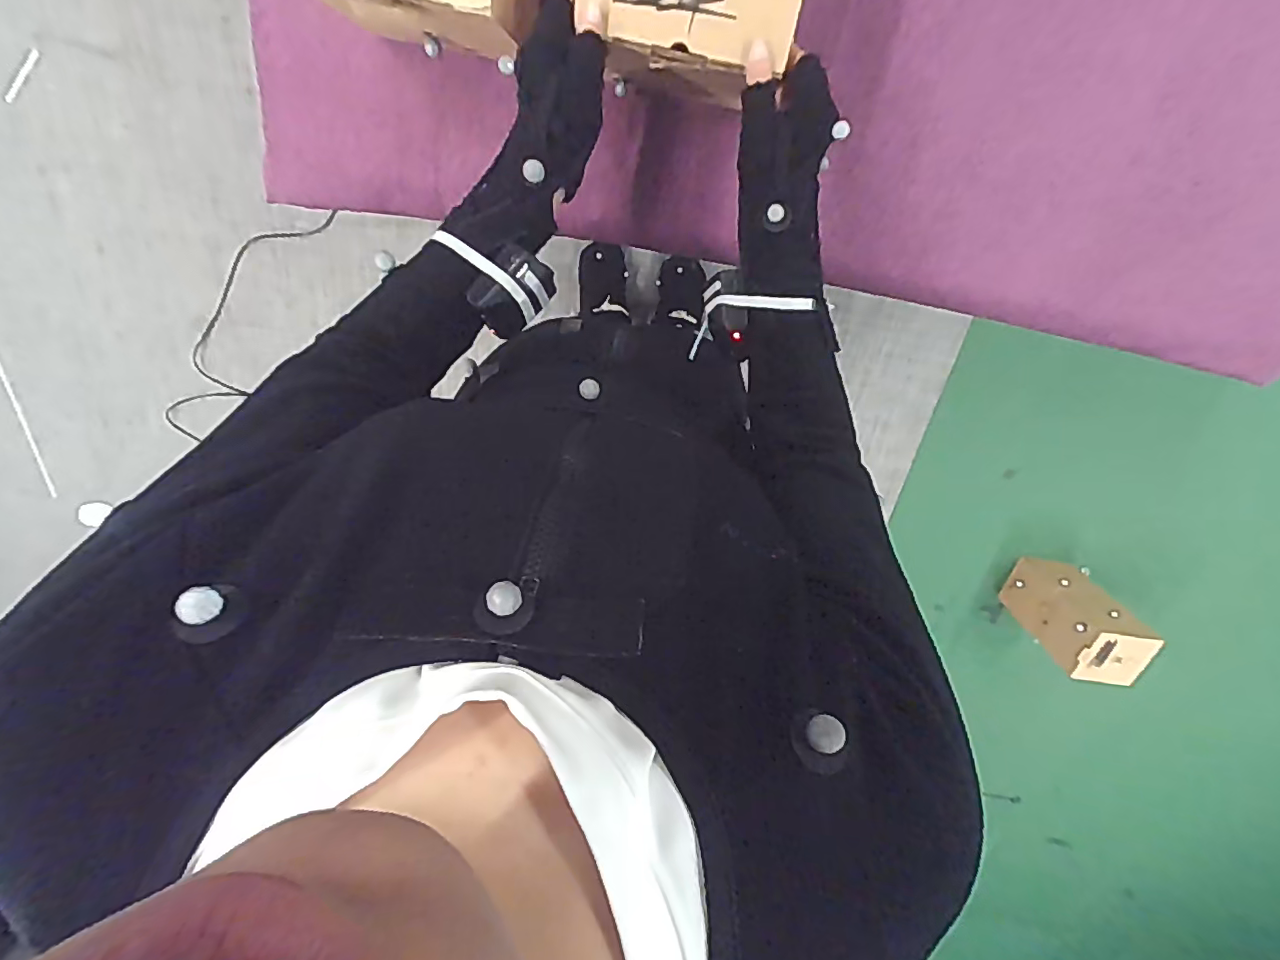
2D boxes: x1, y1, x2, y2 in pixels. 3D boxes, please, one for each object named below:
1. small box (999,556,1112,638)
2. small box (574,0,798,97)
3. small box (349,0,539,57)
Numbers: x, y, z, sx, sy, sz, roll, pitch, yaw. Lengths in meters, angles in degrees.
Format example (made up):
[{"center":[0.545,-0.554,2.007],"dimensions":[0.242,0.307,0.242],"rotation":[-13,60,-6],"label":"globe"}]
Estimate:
[{"center":[1.244,0.348,1.633],"dimensions":[0.179,0.176,0.168],"rotation":[9,117,-3],"label":"small box"},{"center":[0.048,-0.441,0.442],"dimensions":[0.168,0.176,0.179],"rotation":[10,116,-4],"label":"small box"},{"center":[-0.172,-0.476,0.429],"dimensions":[0.168,0.176,0.179],"rotation":[10,117,-3],"label":"small box"}]
